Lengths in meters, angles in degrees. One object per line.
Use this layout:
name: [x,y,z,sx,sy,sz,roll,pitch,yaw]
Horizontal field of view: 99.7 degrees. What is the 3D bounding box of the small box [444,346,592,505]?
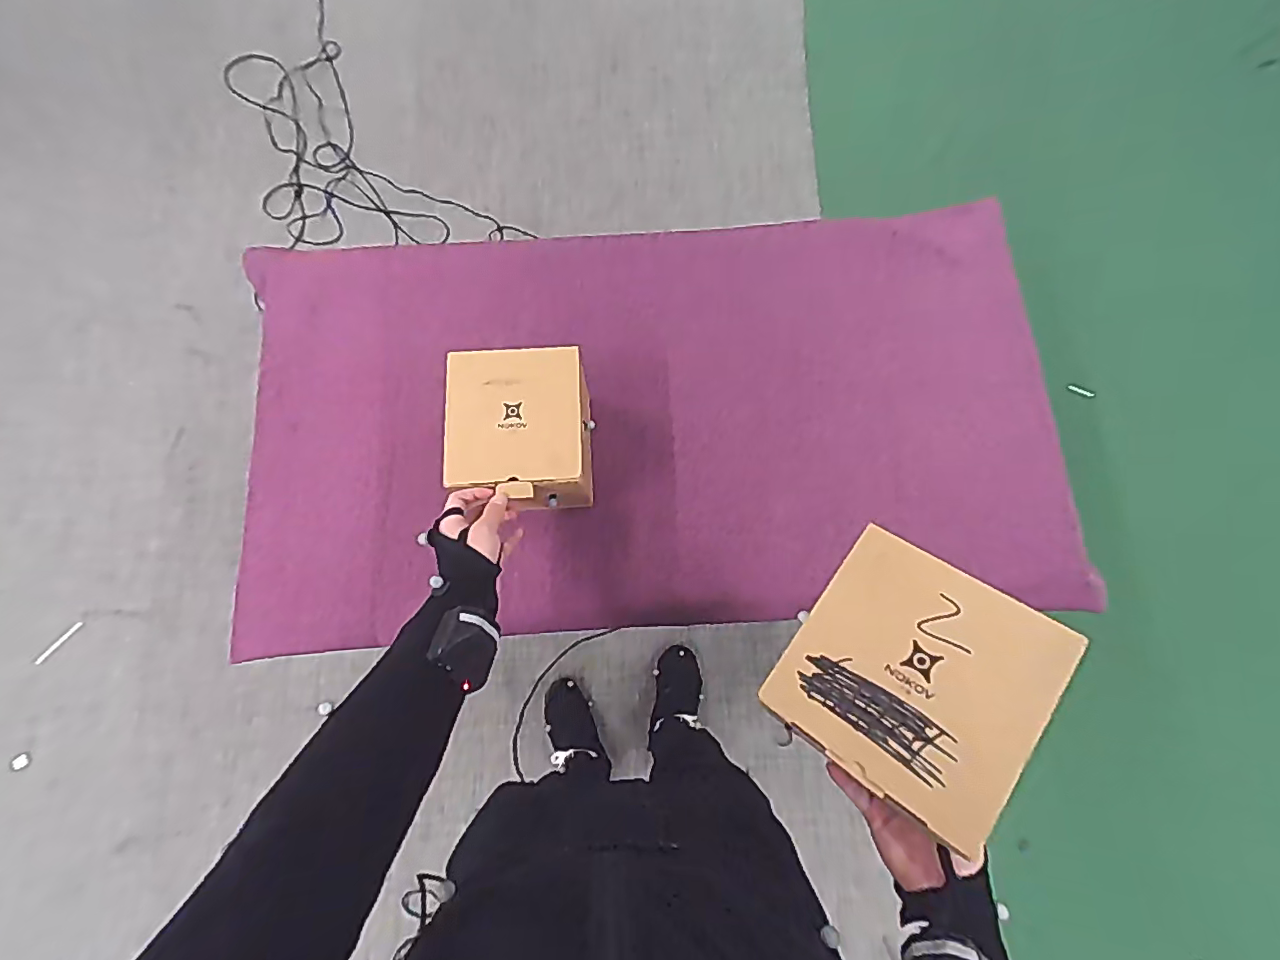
small box: [-0.156,-0.063,0.739,0.168,0.176,0.179,-3,76,-1]
